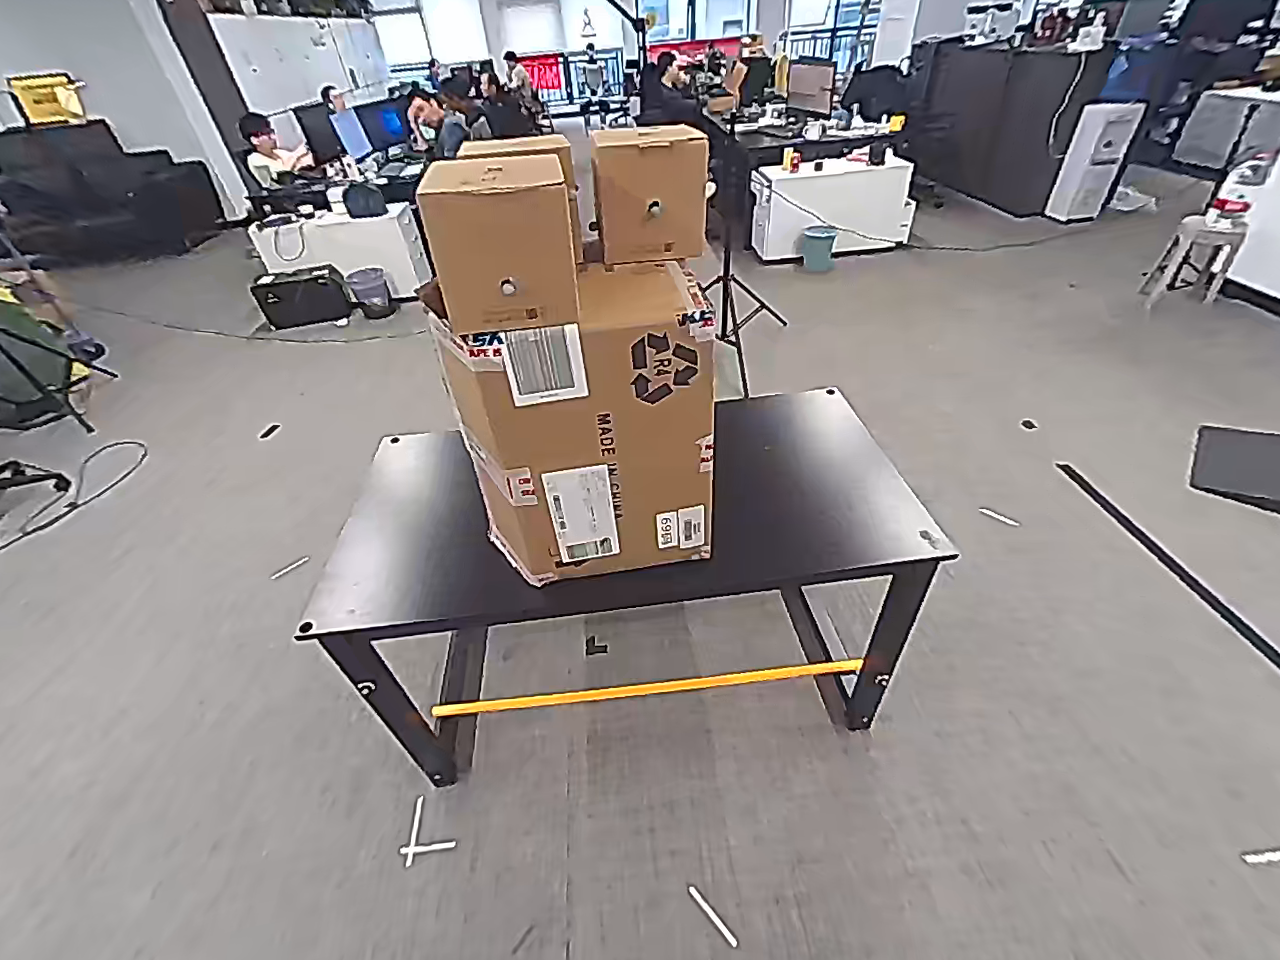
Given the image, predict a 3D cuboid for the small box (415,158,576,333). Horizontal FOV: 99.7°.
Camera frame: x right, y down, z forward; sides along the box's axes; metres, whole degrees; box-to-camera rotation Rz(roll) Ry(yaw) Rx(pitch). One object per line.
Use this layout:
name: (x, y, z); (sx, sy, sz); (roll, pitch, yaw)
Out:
small box: (-0.179, -0.312, 0.718); (0.168, 0.176, 0.179); (-8, 41, -6)

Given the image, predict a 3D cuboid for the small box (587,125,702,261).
small box: (0.005, -0.471, 0.895); (0.168, 0.176, 0.179); (-6, 40, -5)

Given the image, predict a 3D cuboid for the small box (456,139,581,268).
small box: (-0.194, -0.451, 0.892); (0.168, 0.176, 0.179); (-10, 39, -7)
